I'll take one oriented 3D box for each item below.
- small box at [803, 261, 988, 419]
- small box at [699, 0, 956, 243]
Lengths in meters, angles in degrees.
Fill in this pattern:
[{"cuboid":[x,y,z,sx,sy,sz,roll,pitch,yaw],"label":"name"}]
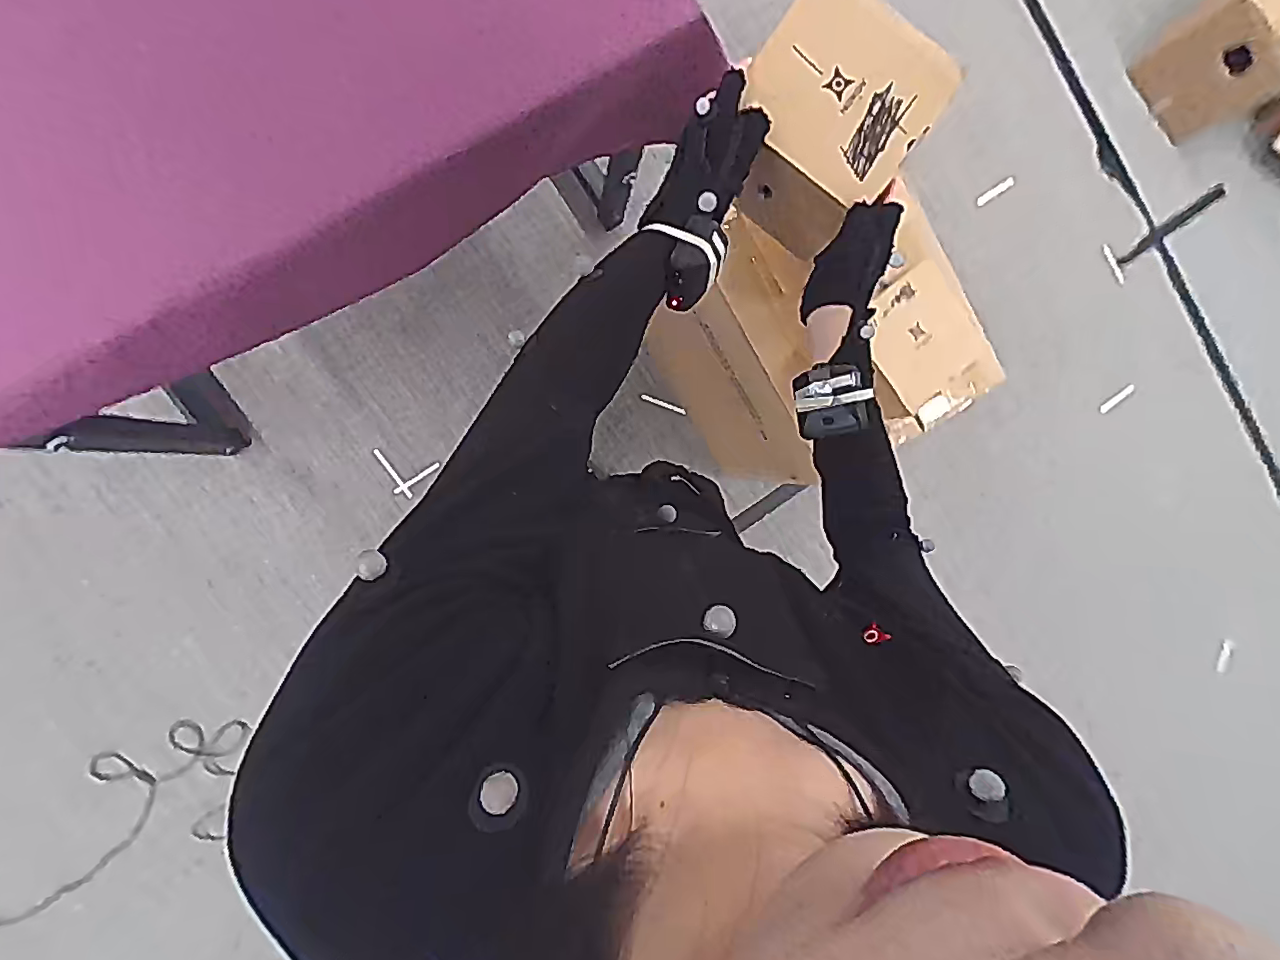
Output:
[{"cuboid":[0.404,-0.213,0.882,0.168,0.176,0.179,-39,97,-6],"label":"small box"},{"cuboid":[0.185,-0.388,0.592,0.179,0.176,0.168,35,96,-4],"label":"small box"}]
